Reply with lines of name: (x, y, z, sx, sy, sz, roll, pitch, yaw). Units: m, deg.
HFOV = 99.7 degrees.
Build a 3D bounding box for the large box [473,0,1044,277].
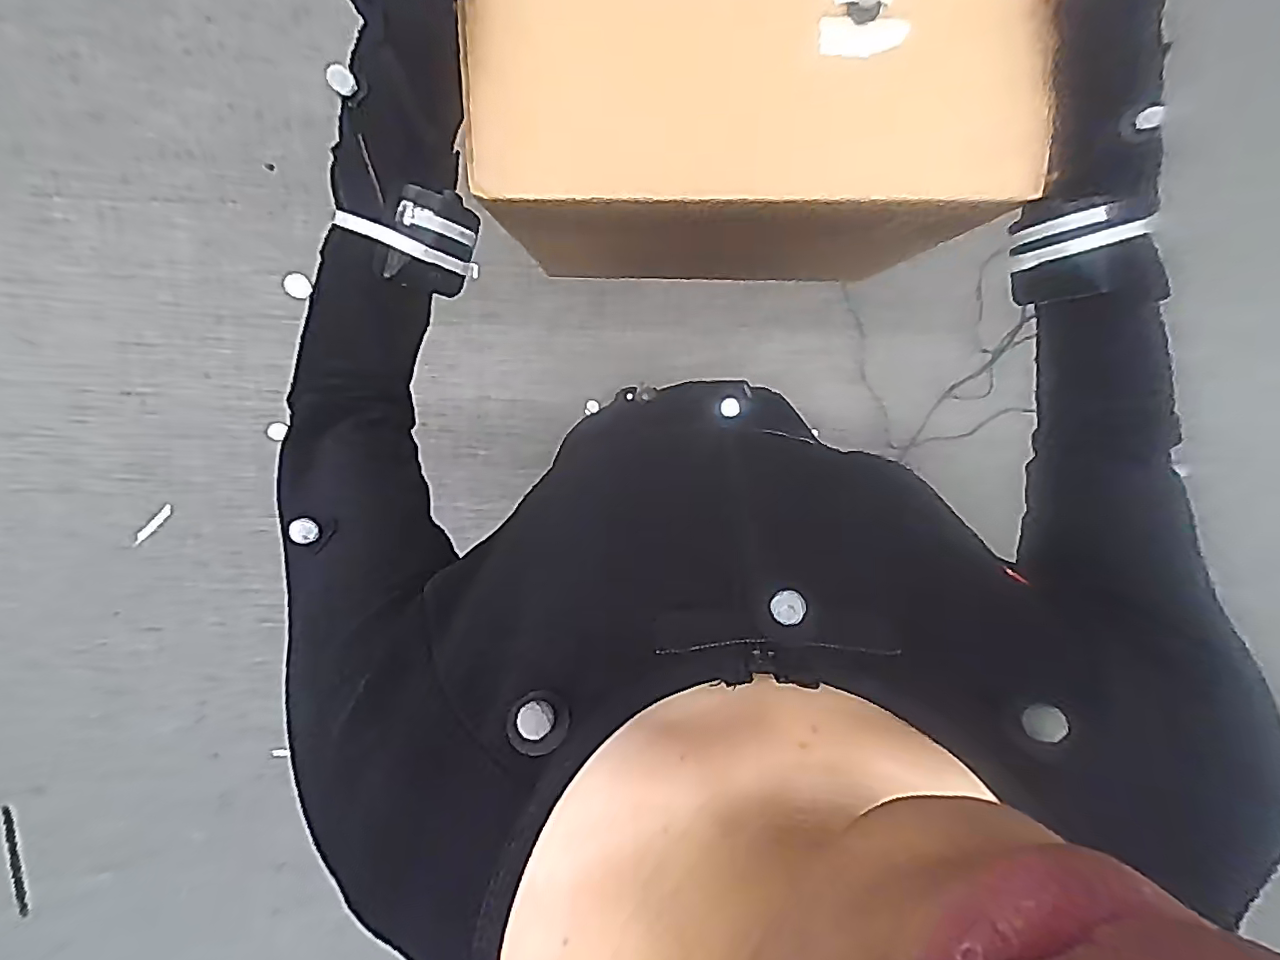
large box: (0.079, -0.388, 0.516, 0.408, 0.320, 0.320, 0, 101, 0)
